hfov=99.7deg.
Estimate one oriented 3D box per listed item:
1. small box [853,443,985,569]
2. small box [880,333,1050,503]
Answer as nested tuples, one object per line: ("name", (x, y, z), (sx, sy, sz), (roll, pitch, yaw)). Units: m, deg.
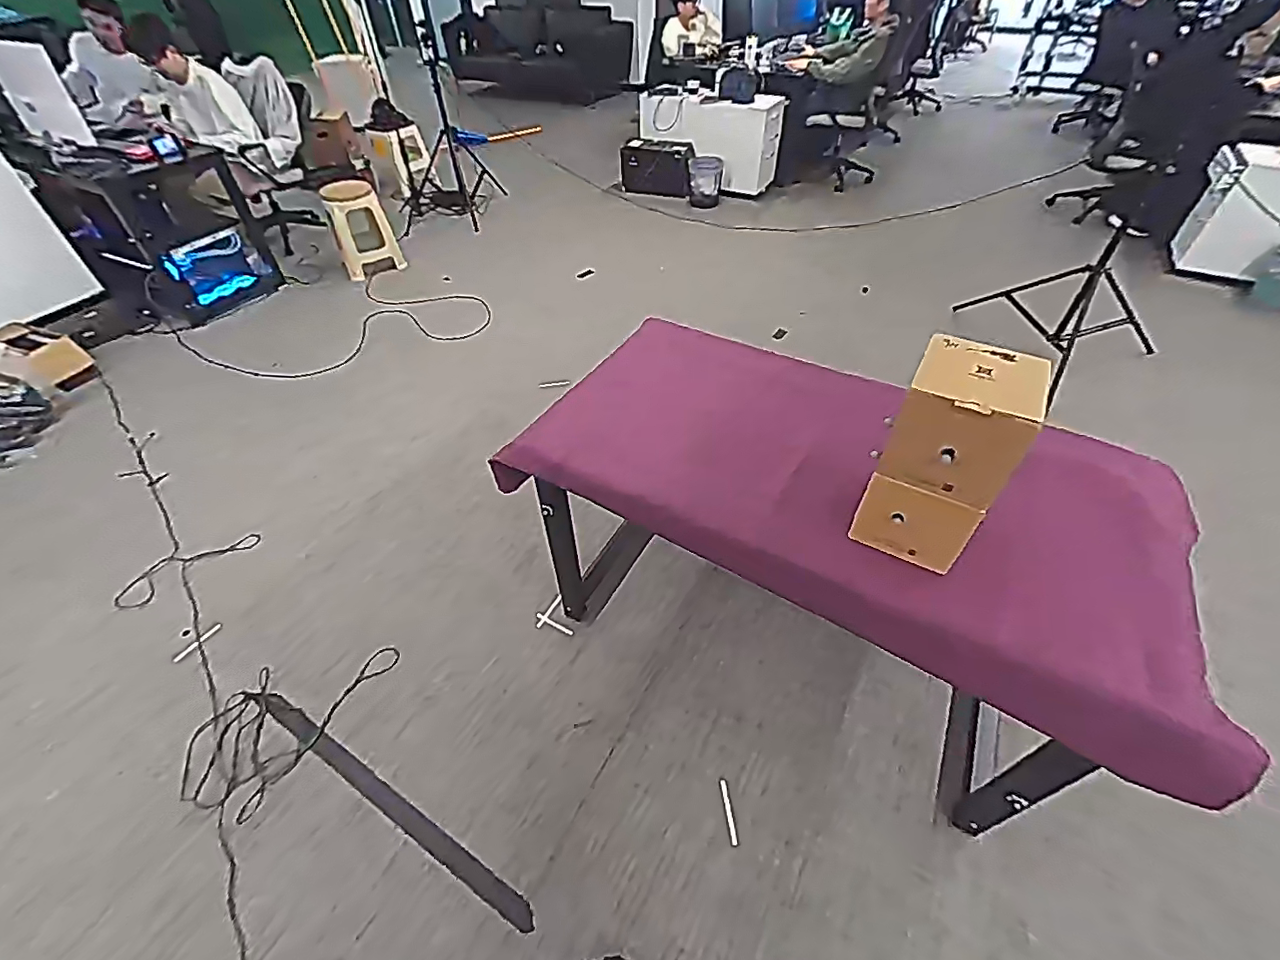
("small box", (0.487, 0.024, 0.942), (0.168, 0.176, 0.179), (22, 49, 22))
("small box", (0.487, -0.094, 0.828), (0.168, 0.176, 0.179), (23, 50, 22))
